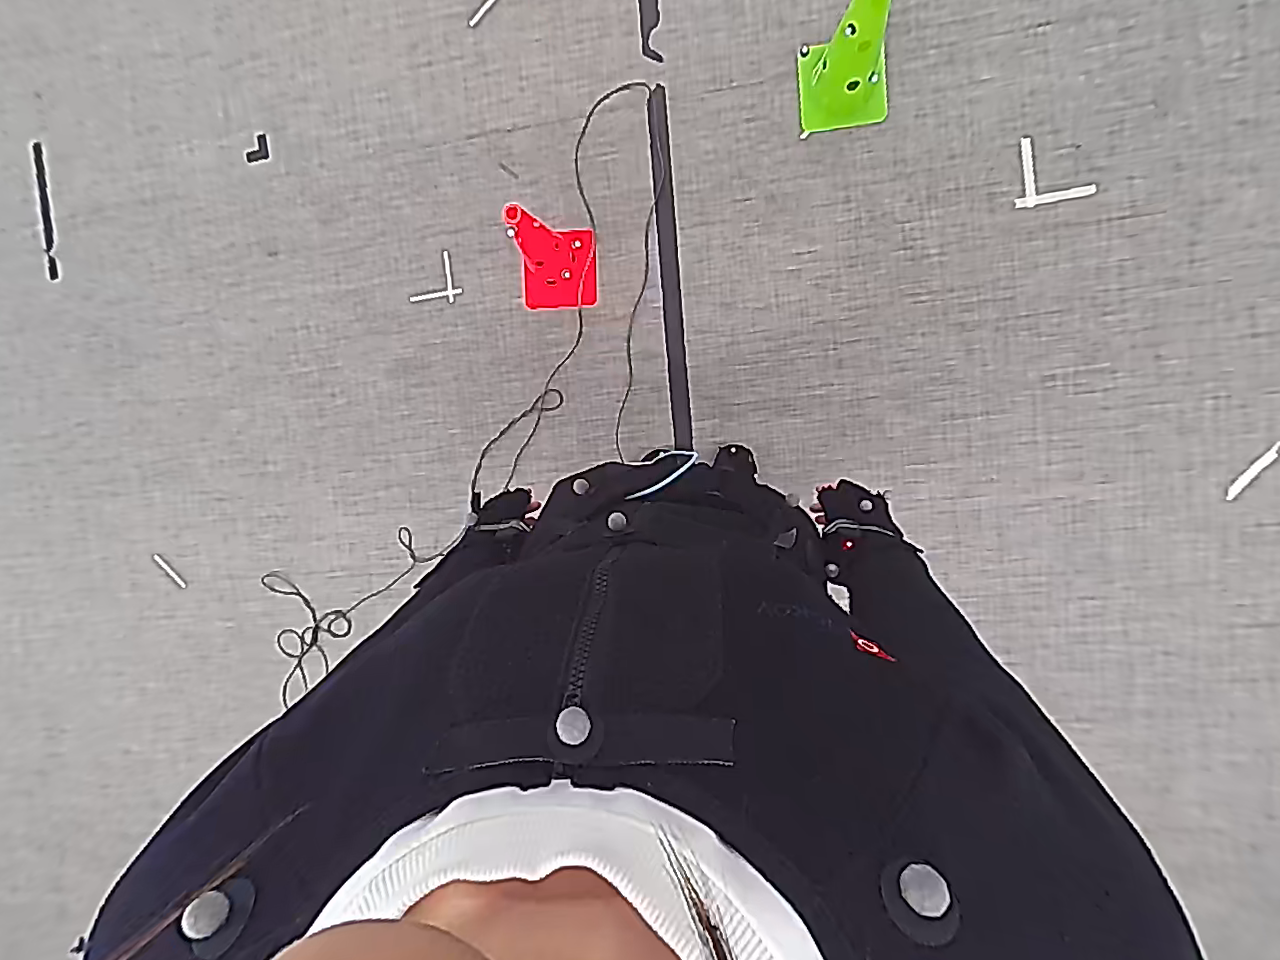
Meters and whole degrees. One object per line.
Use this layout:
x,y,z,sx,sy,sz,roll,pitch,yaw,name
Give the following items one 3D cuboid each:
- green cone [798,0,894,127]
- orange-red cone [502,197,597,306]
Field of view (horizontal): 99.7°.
0.466,-0.945,1.124,0.202,0.368,0.200,-5,94,7,green cone
-0.236,-0.551,1.249,0.199,0.360,0.198,0,93,9,orange-red cone
